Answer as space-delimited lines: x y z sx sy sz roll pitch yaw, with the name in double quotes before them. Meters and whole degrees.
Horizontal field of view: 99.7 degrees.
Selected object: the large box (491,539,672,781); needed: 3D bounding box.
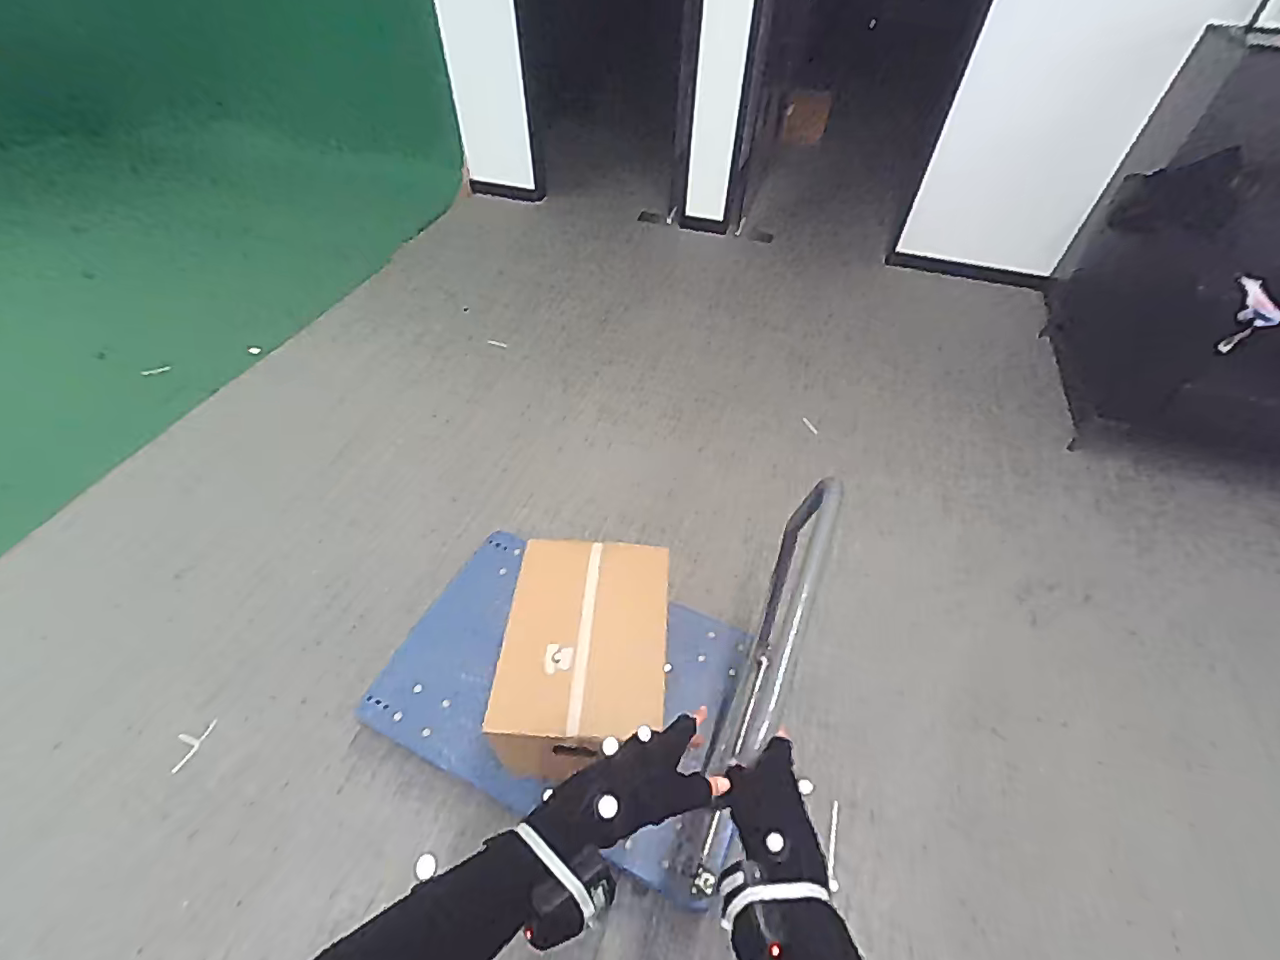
"large box" -0.104 0.385 1.168 0.320 0.320 0.408 4 50 1
